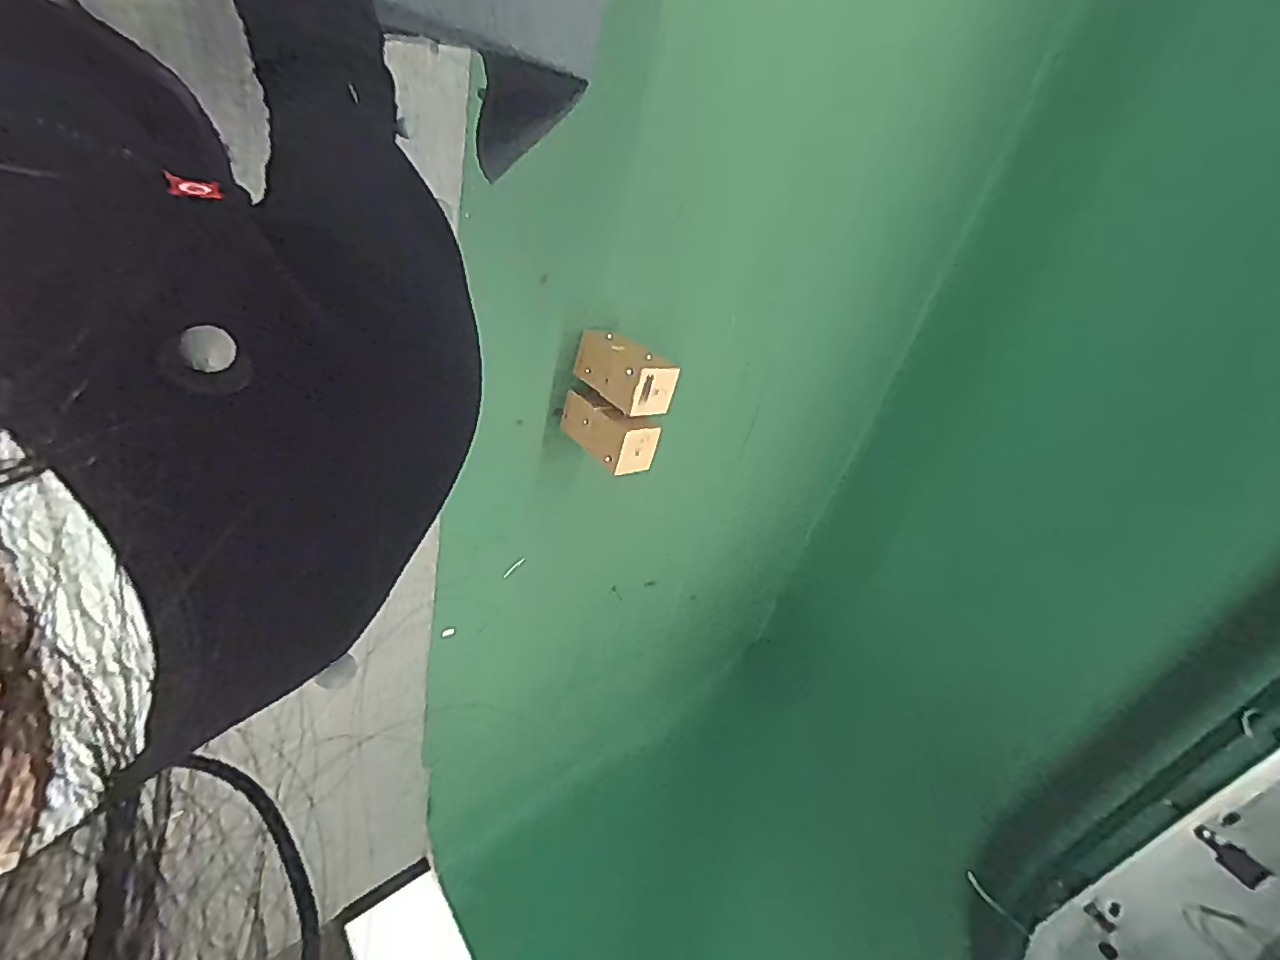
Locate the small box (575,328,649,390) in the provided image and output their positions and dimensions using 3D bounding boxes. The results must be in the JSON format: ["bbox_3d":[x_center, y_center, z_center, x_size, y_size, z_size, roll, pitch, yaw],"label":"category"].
[{"bbox_3d":[-0.105,-0.426,1.904,0.179,0.176,0.168,-8,127,-43],"label":"small box"}]
